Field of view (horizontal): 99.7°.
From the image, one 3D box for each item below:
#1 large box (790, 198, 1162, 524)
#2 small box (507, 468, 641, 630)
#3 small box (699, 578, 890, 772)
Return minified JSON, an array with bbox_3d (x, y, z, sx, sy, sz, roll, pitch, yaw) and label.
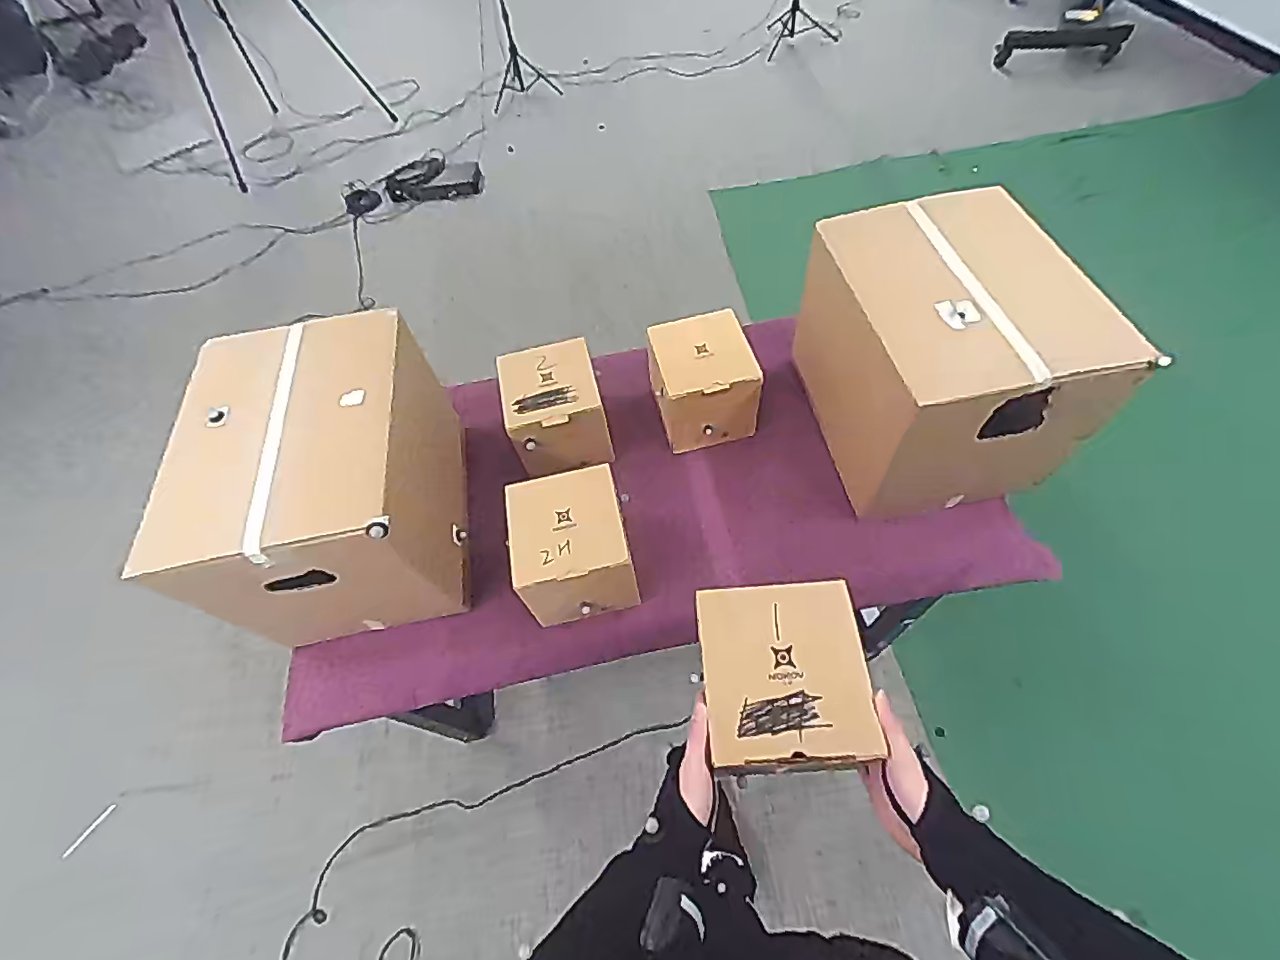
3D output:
[{"bbox_3d":[0.480,-0.192,0.900,0.320,0.320,0.408,-11,58,0],"label":"large box"},{"bbox_3d":[-0.099,0.111,0.846,0.168,0.176,0.179,-14,57,-2],"label":"small box"},{"bbox_3d":[0.159,0.228,0.615,0.168,0.176,0.179,-5,57,4],"label":"small box"}]
